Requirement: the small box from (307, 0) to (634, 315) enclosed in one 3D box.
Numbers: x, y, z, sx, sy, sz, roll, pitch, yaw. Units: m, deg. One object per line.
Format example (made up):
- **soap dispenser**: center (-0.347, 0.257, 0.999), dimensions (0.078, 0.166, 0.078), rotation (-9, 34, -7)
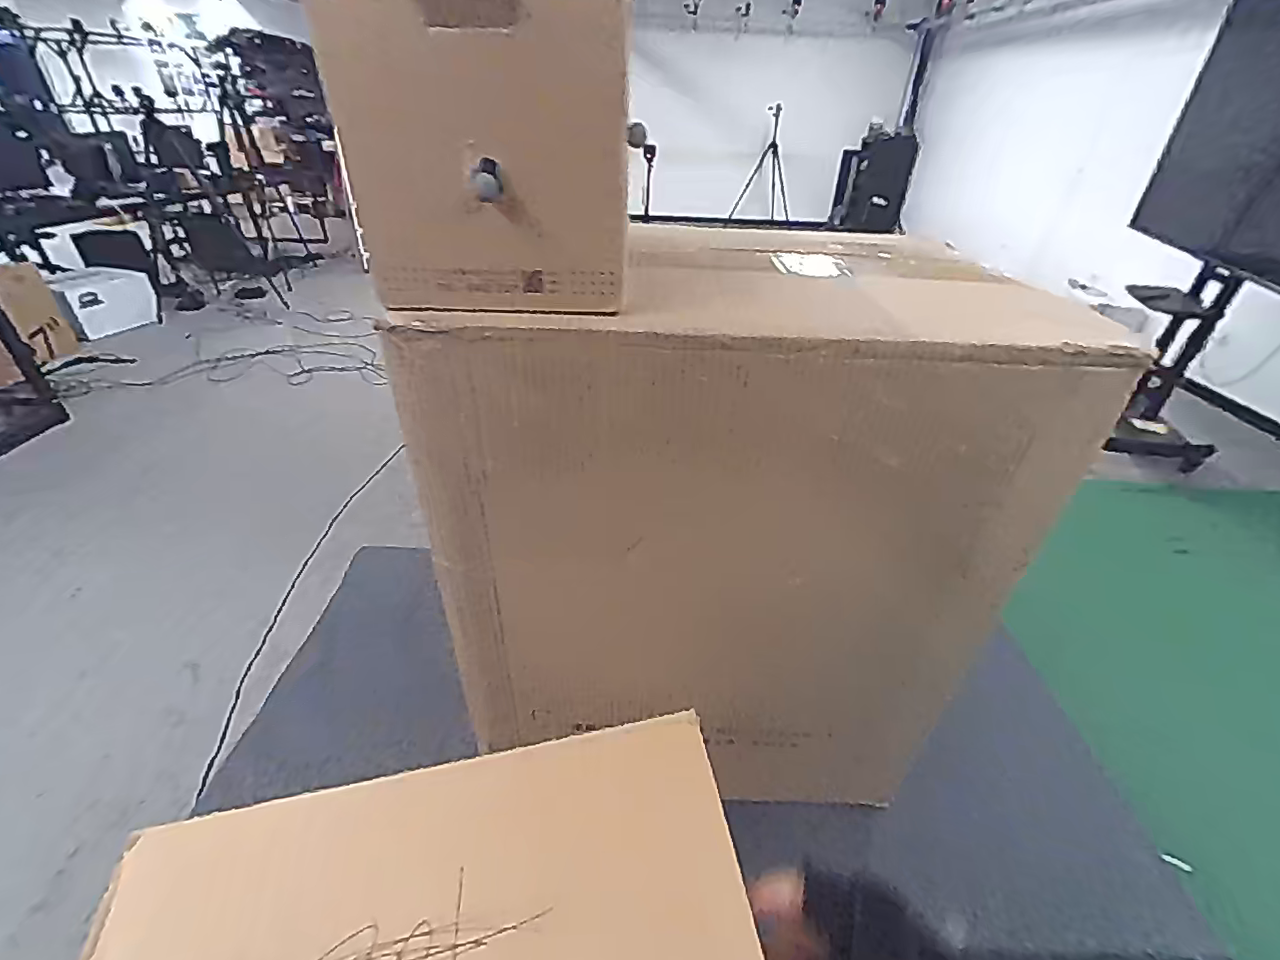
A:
- **small box**: center (-0.088, -0.227, 0.386), dimensions (0.168, 0.176, 0.179), rotation (2, 37, -1)
